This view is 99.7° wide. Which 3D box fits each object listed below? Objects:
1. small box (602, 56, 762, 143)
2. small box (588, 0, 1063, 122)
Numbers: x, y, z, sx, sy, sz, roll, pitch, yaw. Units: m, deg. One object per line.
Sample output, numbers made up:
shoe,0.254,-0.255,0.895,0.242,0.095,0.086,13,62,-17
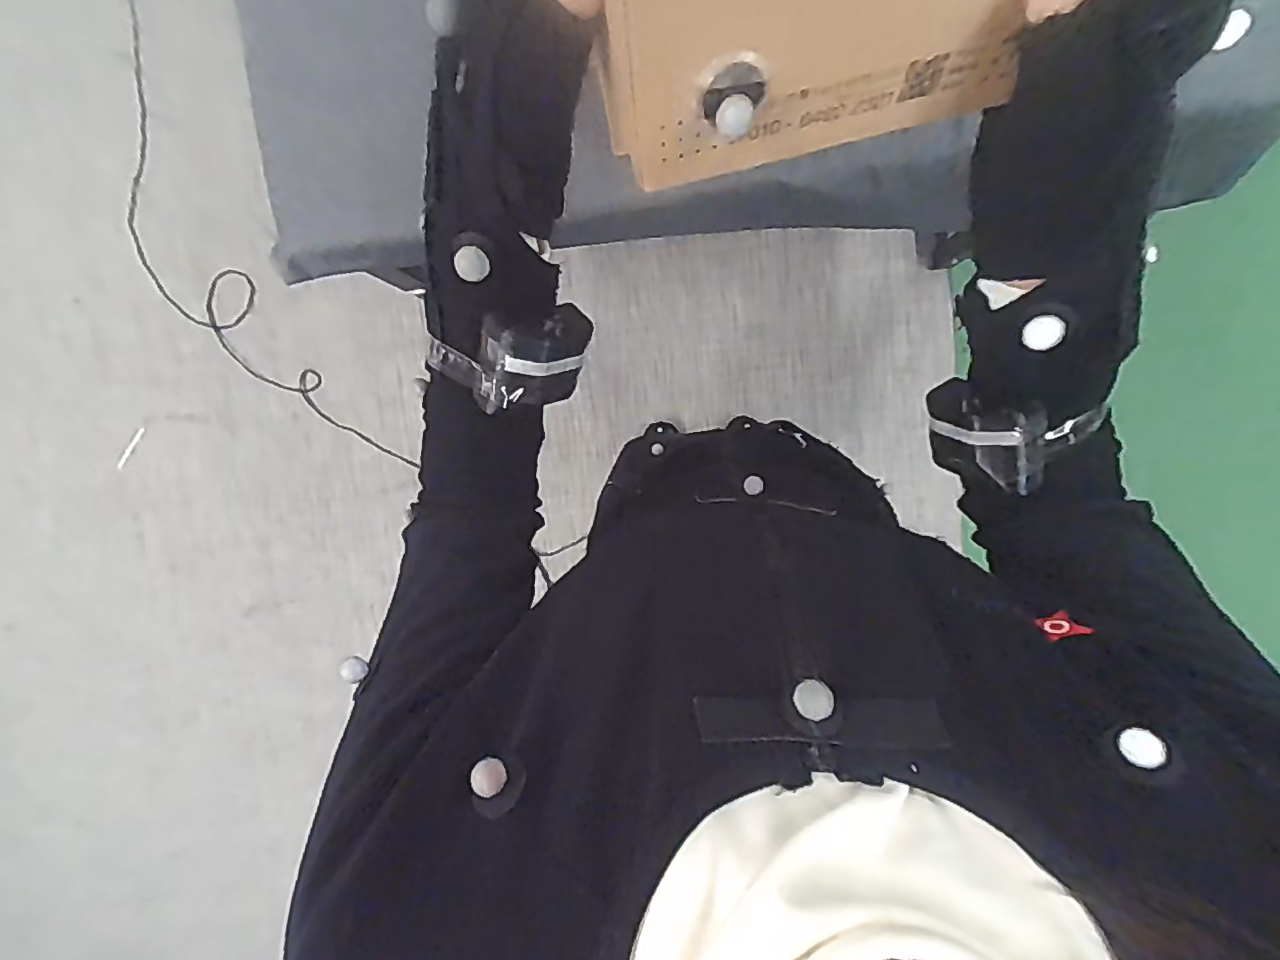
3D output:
small box,0.050,-0.484,0.570,0.179,0.176,0.168,-2,95,4
small box,0.054,-0.245,0.163,0.168,0.176,0.179,-14,70,-1
